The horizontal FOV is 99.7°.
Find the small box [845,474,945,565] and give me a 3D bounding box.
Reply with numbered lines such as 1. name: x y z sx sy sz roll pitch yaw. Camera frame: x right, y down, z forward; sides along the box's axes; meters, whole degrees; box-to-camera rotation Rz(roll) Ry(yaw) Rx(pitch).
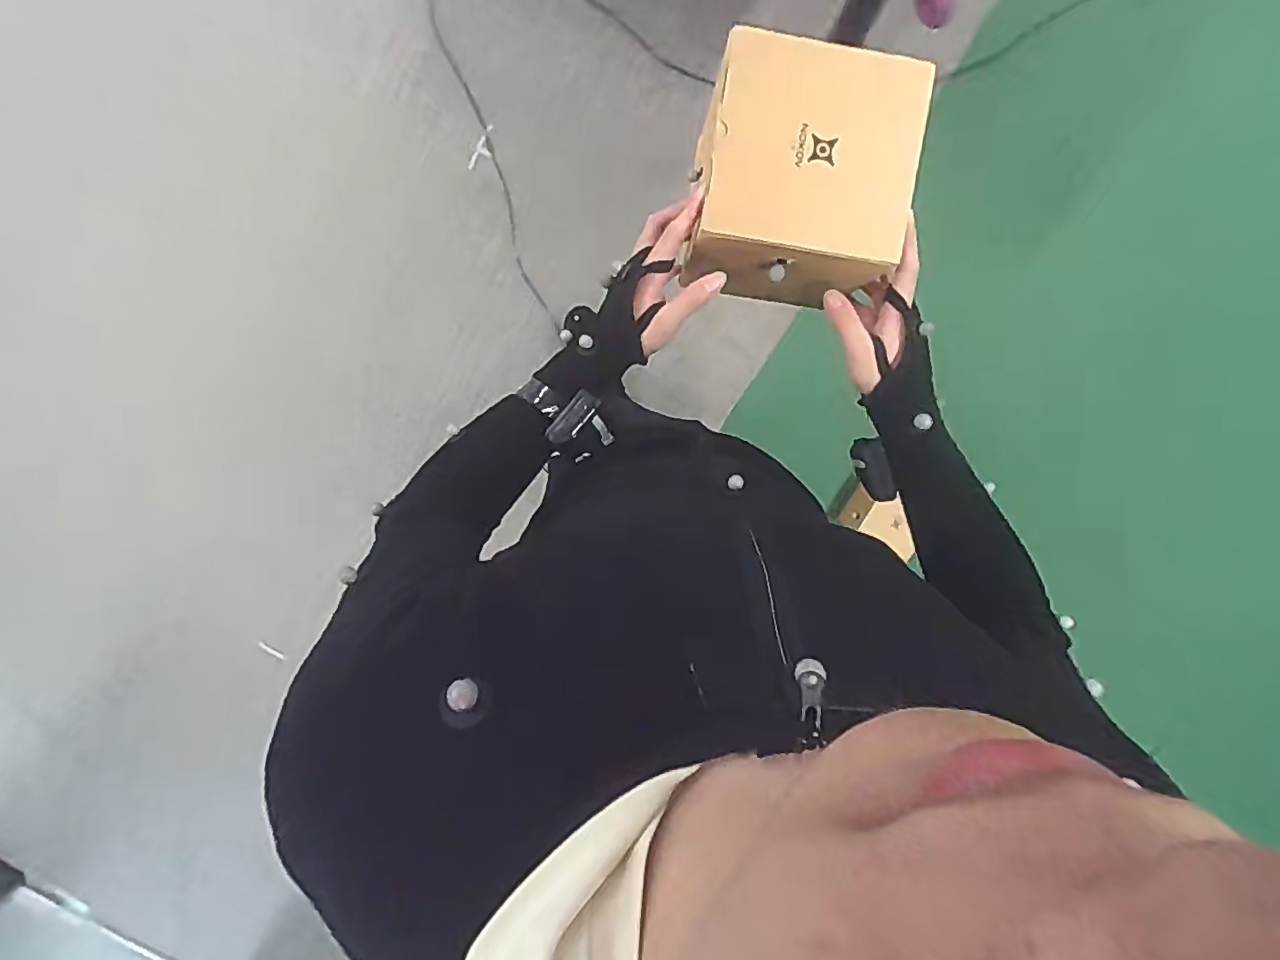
1. small box: 0.700 0.105 1.514 0.168 0.176 0.179 28 101 -1

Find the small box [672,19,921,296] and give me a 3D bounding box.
1. small box: 0.133 -0.288 0.526 0.179 0.176 0.168 8 94 -1
